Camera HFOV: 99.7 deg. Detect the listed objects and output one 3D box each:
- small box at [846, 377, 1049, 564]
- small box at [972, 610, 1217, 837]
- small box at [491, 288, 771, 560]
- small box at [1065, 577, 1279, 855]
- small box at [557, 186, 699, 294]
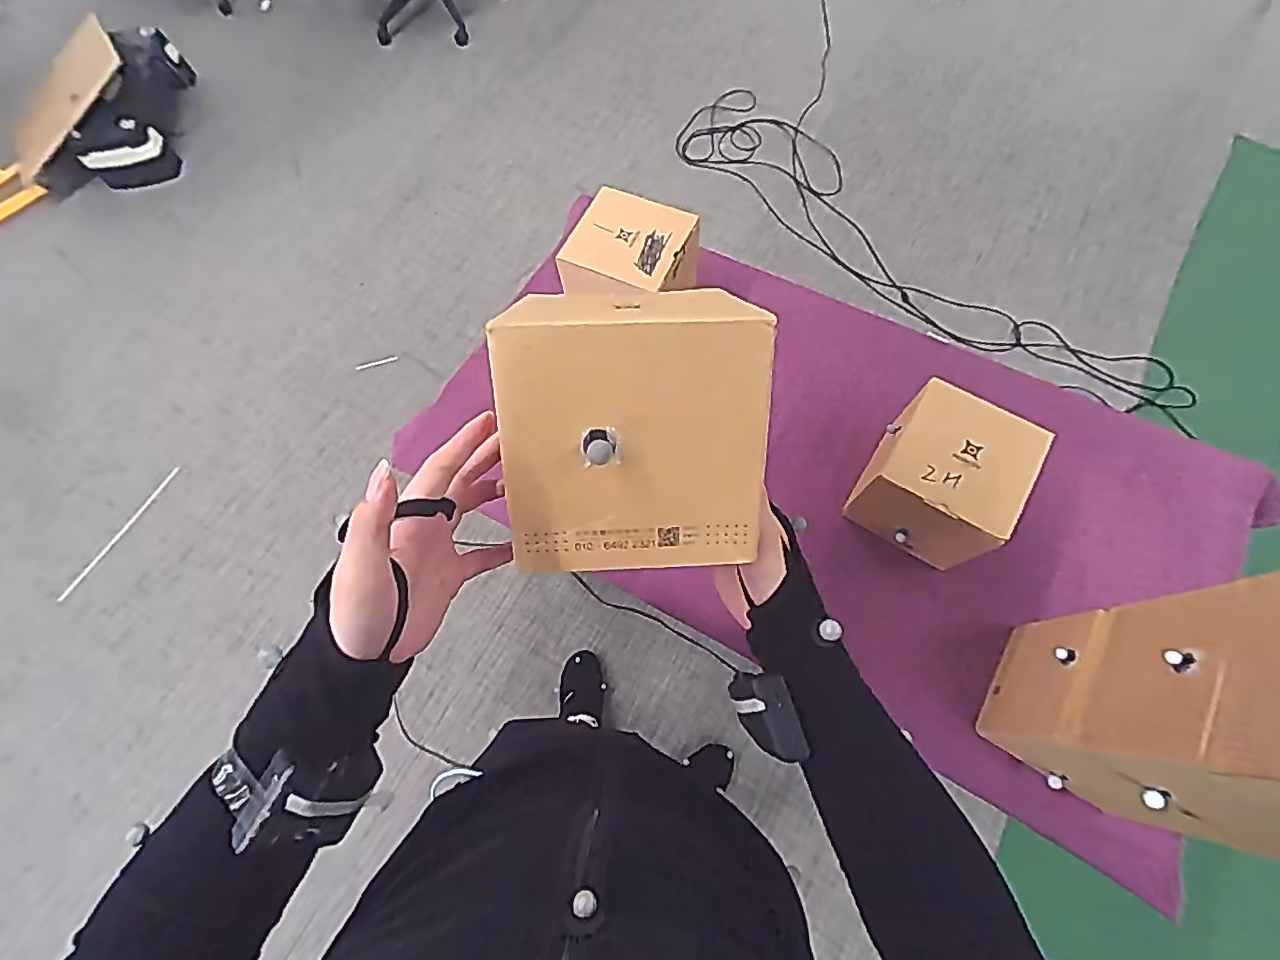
[{"bbox_3d":[0.421,-0.006,0.772,0.168,0.176,0.179,32,74,14],"label":"small box"},{"bbox_3d":[0.555,0.281,0.656,0.179,0.176,0.168,31,73,13],"label":"small box"},{"bbox_3d":[-0.005,-0.049,0.415,0.168,0.179,0.176,-2,114,-3],"label":"small box"},{"bbox_3d":[0.552,0.220,0.505,0.168,0.176,0.179,31,73,15],"label":"small box"},{"bbox_3d":[-0.014,-0.351,0.919,0.179,0.176,0.168,24,72,11],"label":"small box"}]
